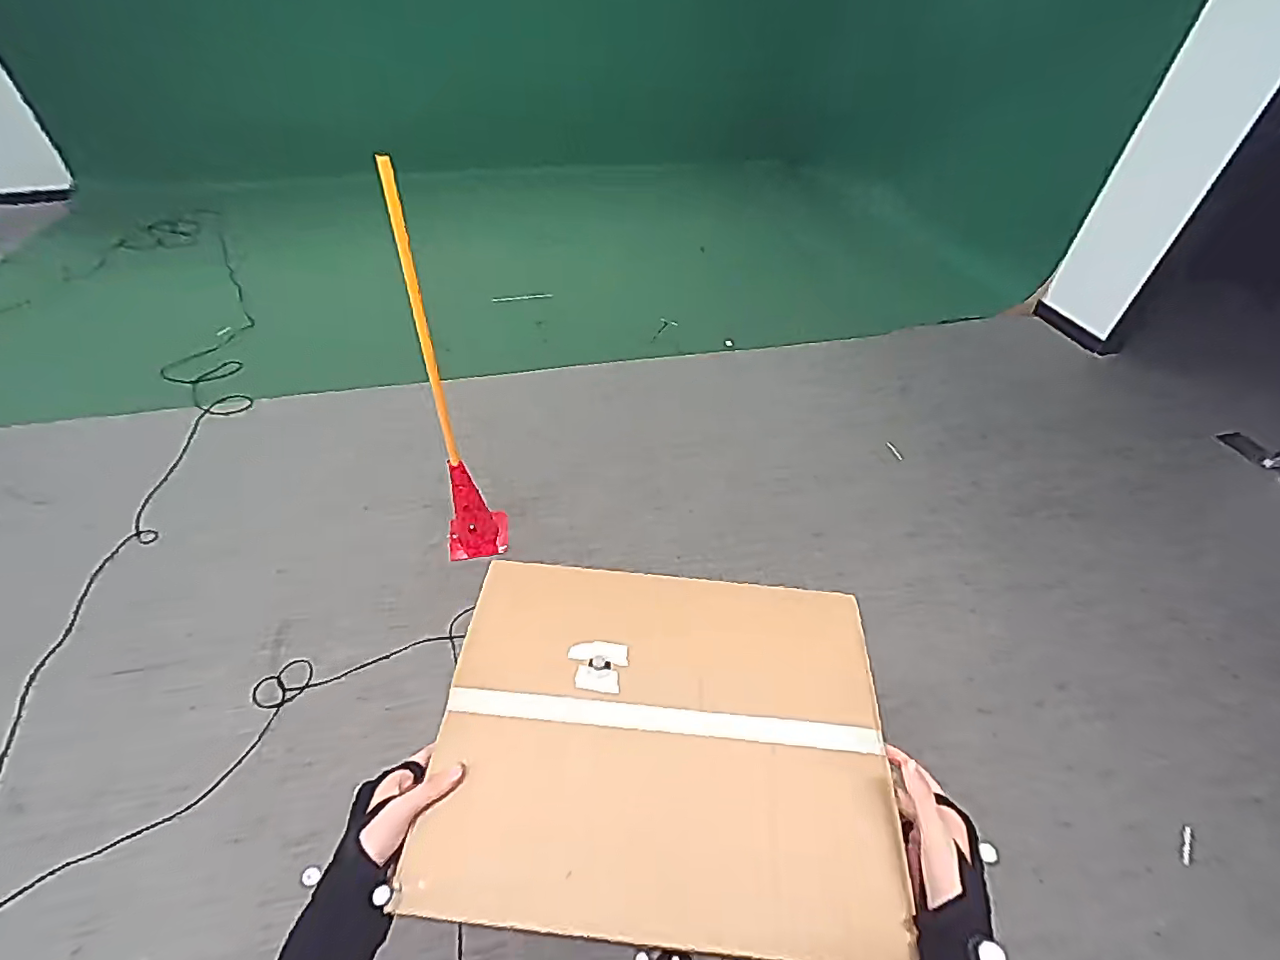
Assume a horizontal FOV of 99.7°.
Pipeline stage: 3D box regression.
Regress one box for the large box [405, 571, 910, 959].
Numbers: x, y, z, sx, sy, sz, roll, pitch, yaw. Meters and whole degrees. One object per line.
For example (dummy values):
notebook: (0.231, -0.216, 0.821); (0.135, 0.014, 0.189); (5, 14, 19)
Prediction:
large box: (0.022, 0.329, 0.628); (0.408, 0.320, 0.320); (5, 49, 3)
